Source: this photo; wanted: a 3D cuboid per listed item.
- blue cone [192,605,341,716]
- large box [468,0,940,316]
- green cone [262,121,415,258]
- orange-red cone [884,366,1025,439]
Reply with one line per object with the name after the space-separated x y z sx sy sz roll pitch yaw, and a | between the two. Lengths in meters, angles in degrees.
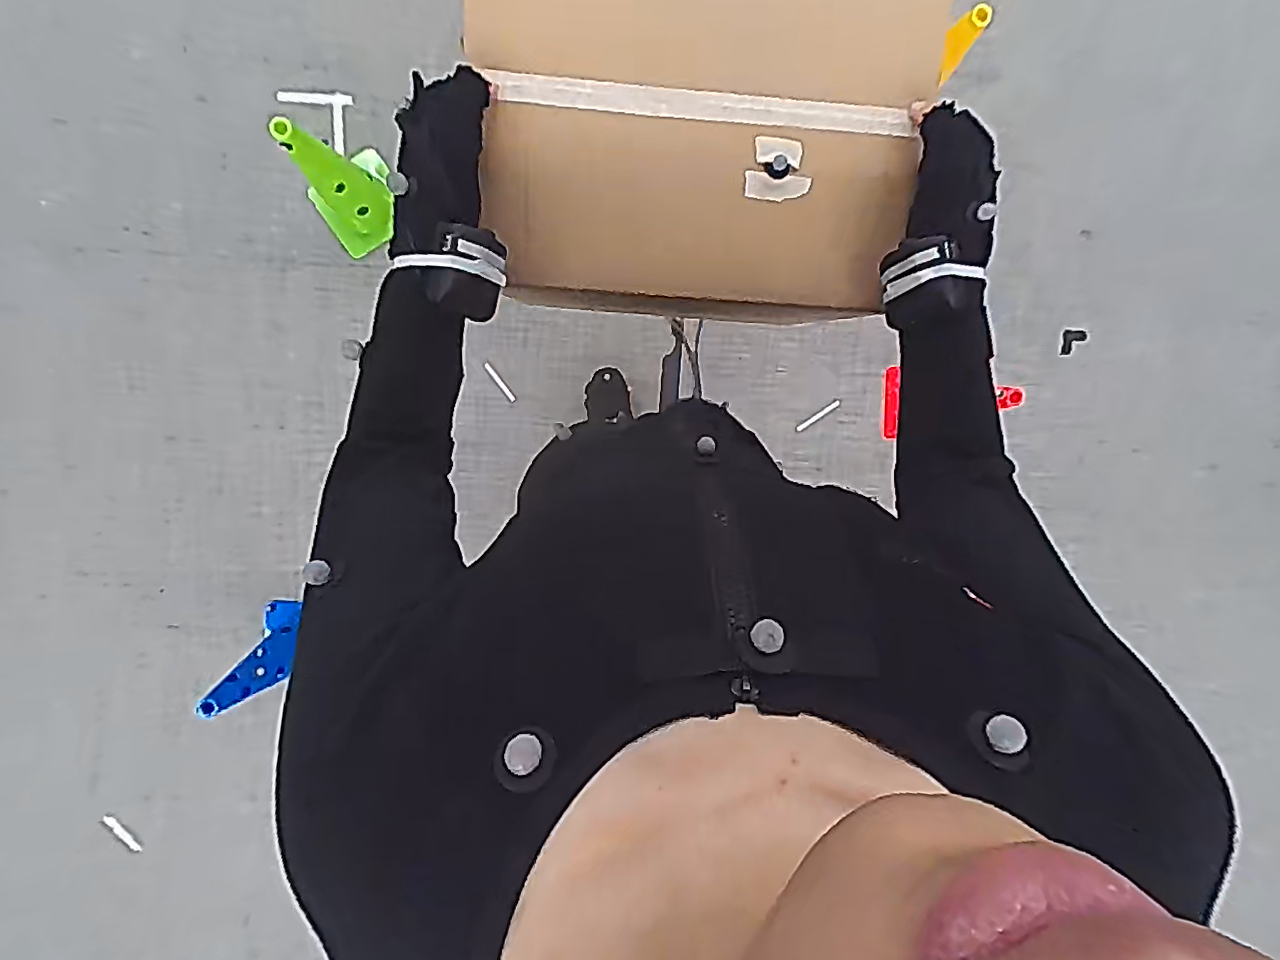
-0.888 0.444 1.278 0.192 0.380 0.193 6 95 -4 | blue cone
0.043 -0.364 0.612 0.408 0.320 0.320 3 104 -5 | large box
-0.676 -0.662 1.163 0.202 0.368 0.200 -35 96 1 | green cone
0.782 -0.199 1.317 0.198 0.360 0.199 0 94 -5 | orange-red cone
